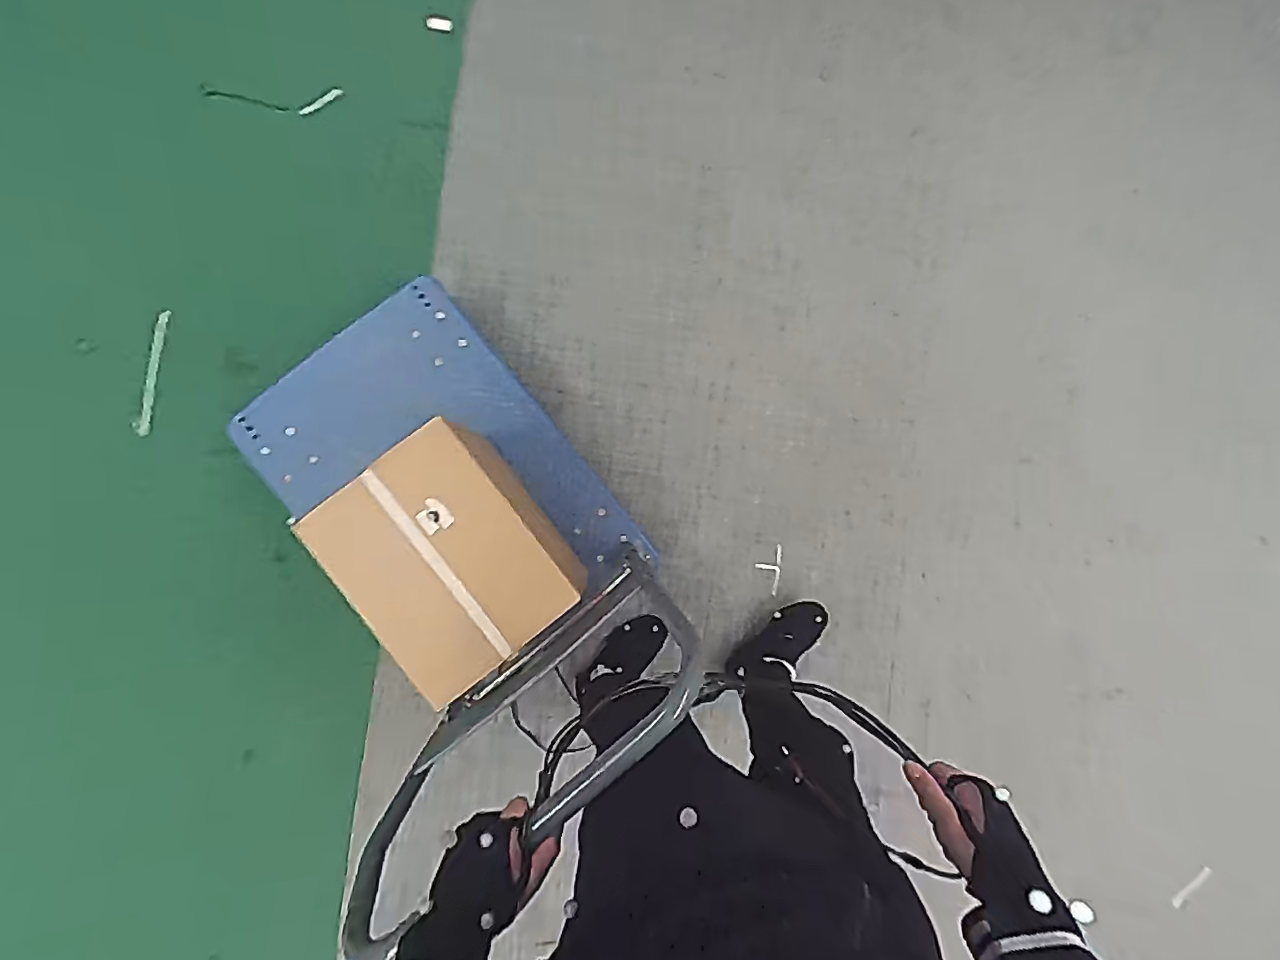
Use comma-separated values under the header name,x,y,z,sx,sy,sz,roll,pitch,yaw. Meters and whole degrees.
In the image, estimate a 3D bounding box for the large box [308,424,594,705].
name,x,y,z,sx,sy,sz,roll,pitch,yaw
large box,-0.339,0.152,1.088,0.320,0.320,0.408,-38,89,-4
